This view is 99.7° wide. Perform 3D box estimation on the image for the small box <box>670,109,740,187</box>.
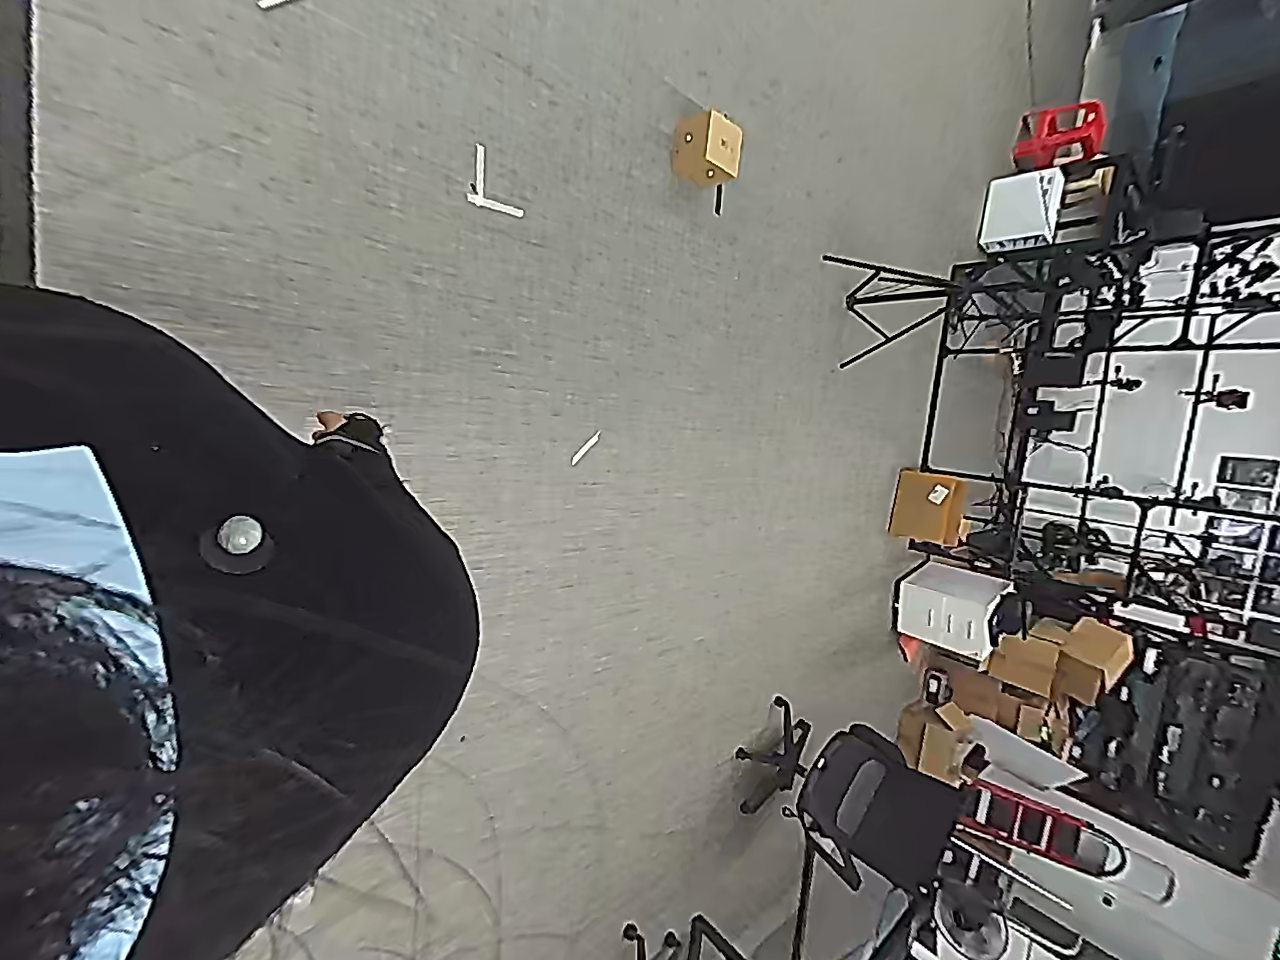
[{"bbox_3d":[0.230,-1.180,1.942,0.179,0.176,0.168,2,98,-43],"label":"small box"}]
